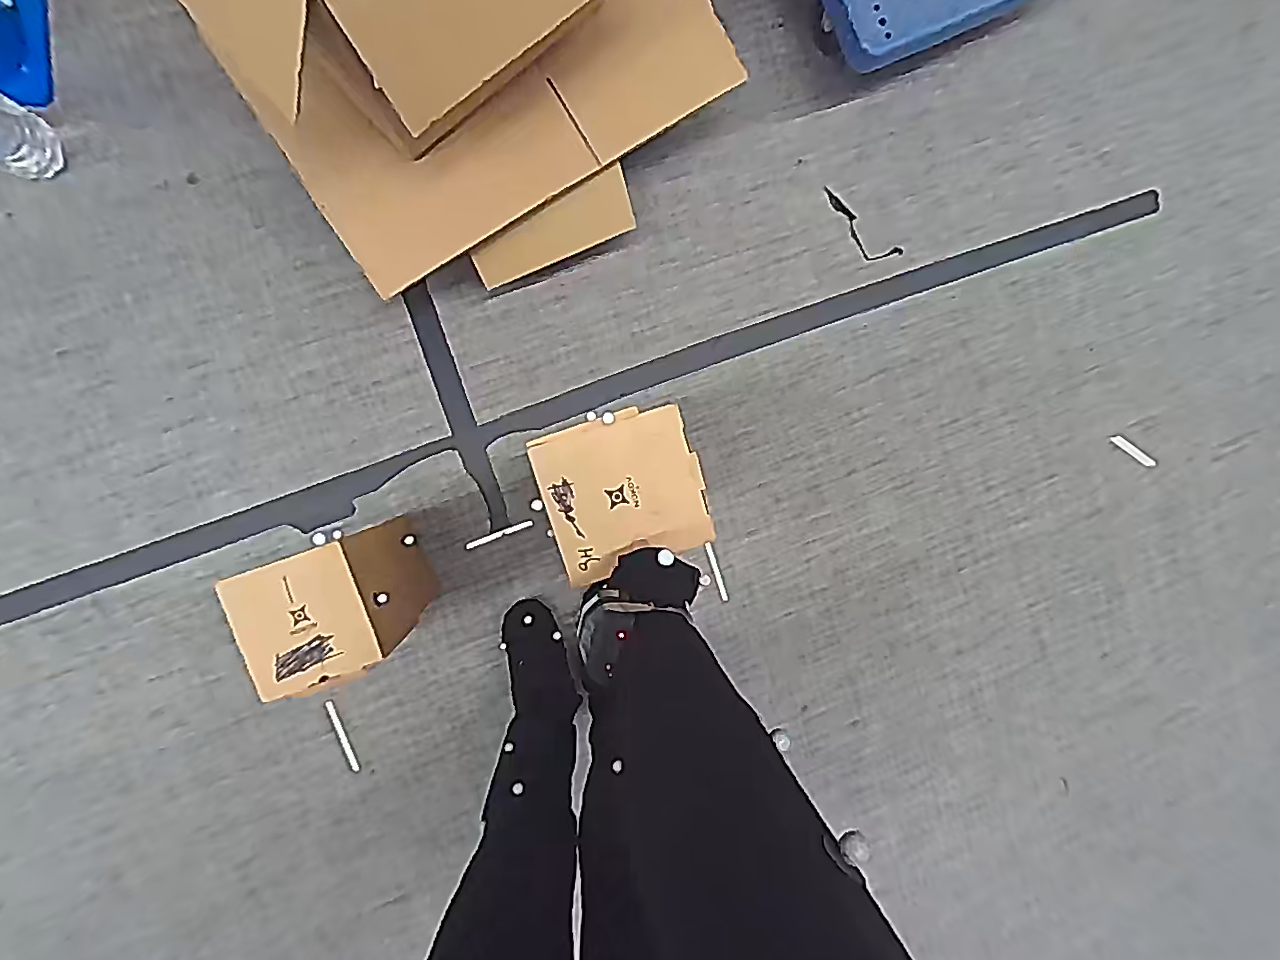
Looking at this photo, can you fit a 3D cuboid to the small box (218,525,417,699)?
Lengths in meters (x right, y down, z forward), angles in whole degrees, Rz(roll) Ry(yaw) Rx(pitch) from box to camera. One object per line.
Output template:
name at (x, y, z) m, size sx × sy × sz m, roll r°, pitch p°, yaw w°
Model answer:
small box at (-0.452, 0.180, 0.792) m, size 0.168 × 0.176 × 0.179 m, roll -19°, pitch 95°, yaw -6°

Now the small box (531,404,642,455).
small box at (-0.063, -0.005, 0.834) m, size 0.168 × 0.176 × 0.179 m, roll -20°, pitch 97°, yaw -7°

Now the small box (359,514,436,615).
small box at (-0.480, 0.171, 0.954) m, size 0.179 × 0.176 × 0.168 m, roll -22°, pitch 96°, yaw -5°

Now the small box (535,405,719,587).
small box at (-0.026, 0.010, 0.675) m, size 0.179 × 0.176 × 0.168 m, roll -18°, pitch 97°, yaw -8°
